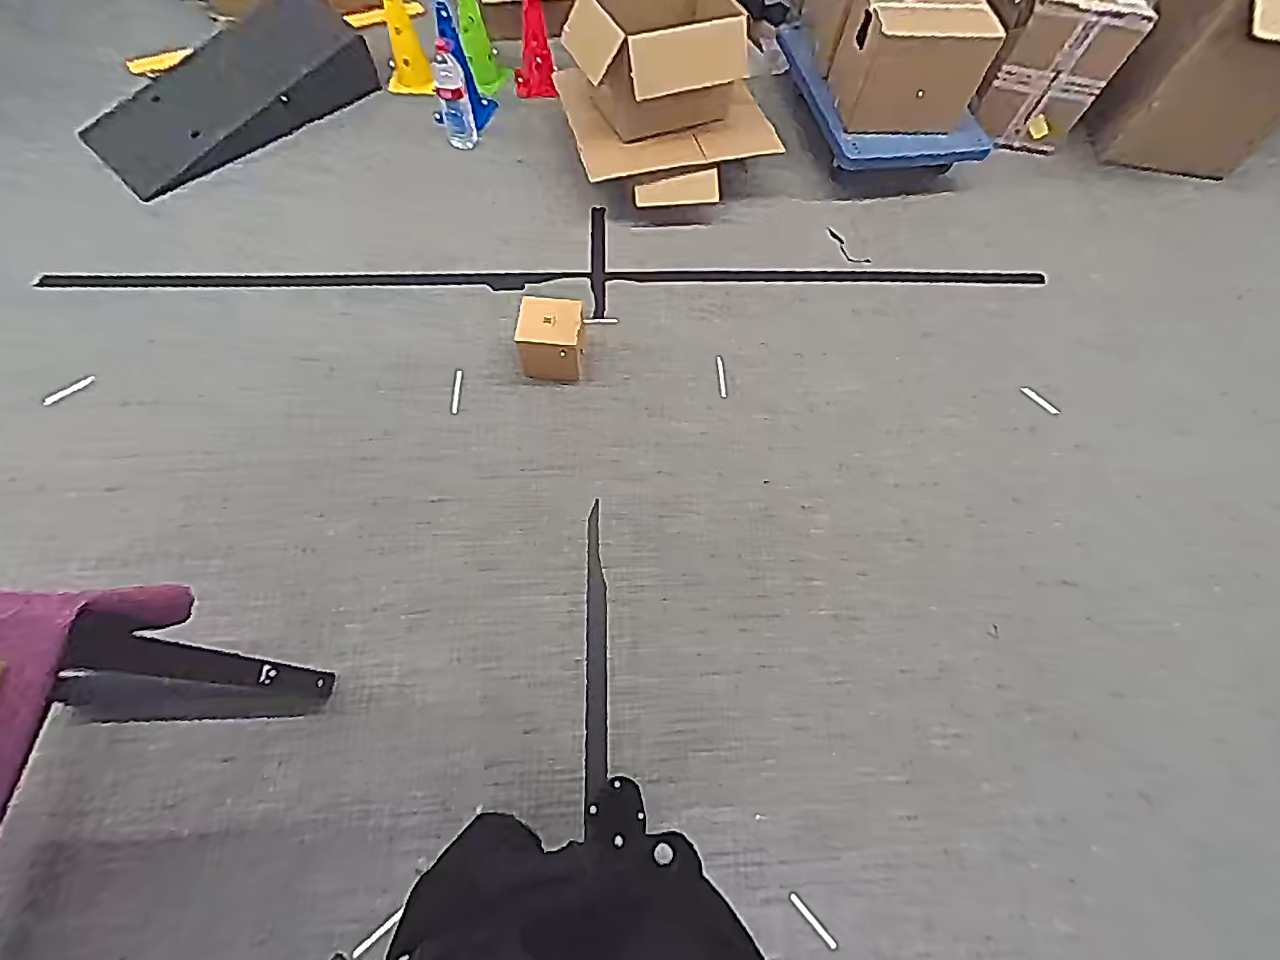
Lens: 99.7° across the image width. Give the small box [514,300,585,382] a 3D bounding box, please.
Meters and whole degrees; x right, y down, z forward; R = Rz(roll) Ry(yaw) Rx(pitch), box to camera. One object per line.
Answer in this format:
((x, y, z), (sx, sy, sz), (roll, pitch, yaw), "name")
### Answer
((-0.261, -0.407, 1.595), (0.179, 0.176, 0.168), (4, 65, -2), "small box")
